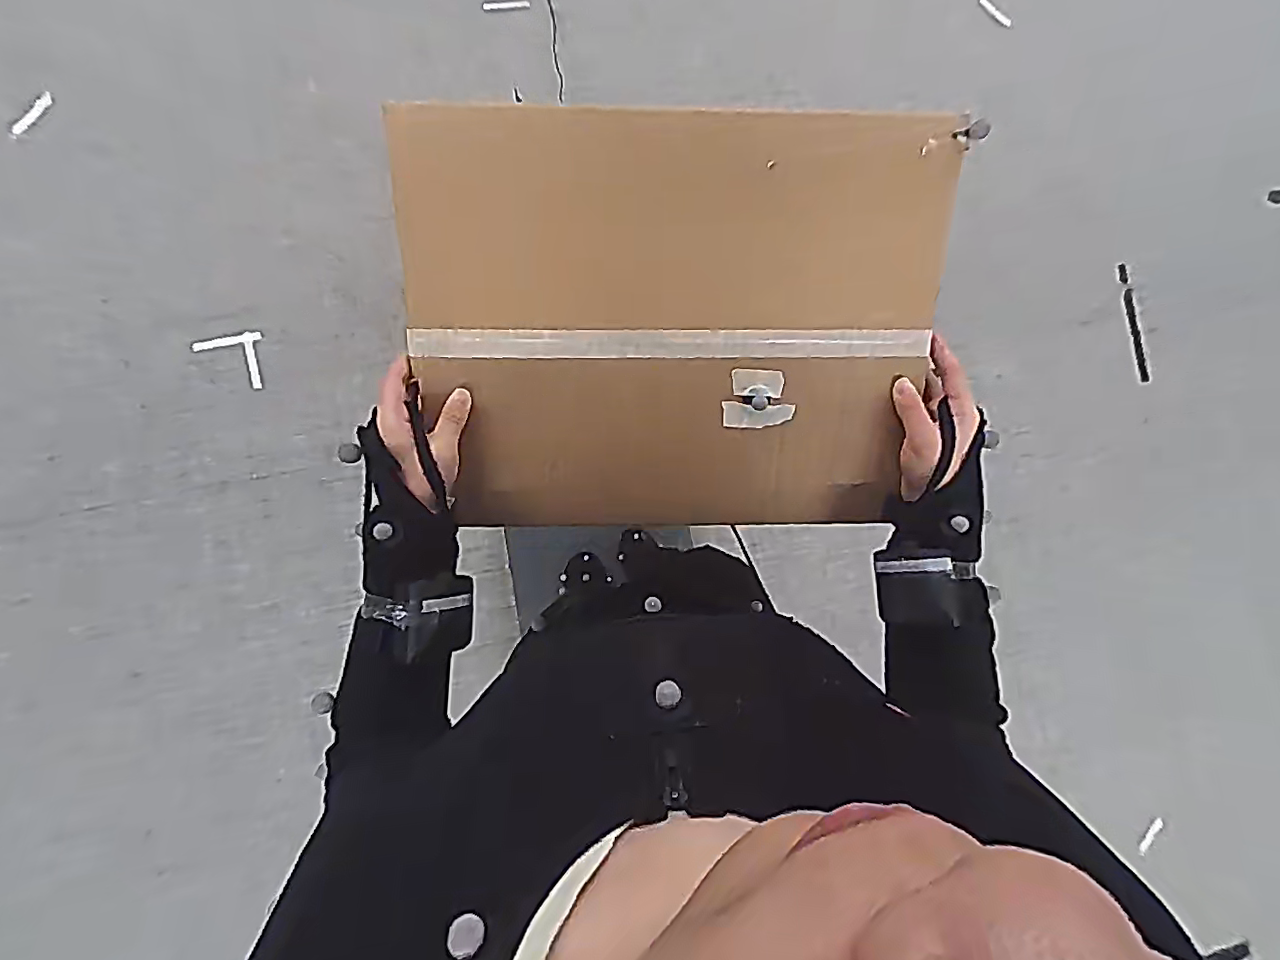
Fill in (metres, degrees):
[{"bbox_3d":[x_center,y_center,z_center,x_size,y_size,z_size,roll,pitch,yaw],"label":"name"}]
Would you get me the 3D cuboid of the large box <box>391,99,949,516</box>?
[{"bbox_3d":[0.017,-0.166,0.567,0.408,0.320,0.320,-1,110,-3],"label":"large box"}]
